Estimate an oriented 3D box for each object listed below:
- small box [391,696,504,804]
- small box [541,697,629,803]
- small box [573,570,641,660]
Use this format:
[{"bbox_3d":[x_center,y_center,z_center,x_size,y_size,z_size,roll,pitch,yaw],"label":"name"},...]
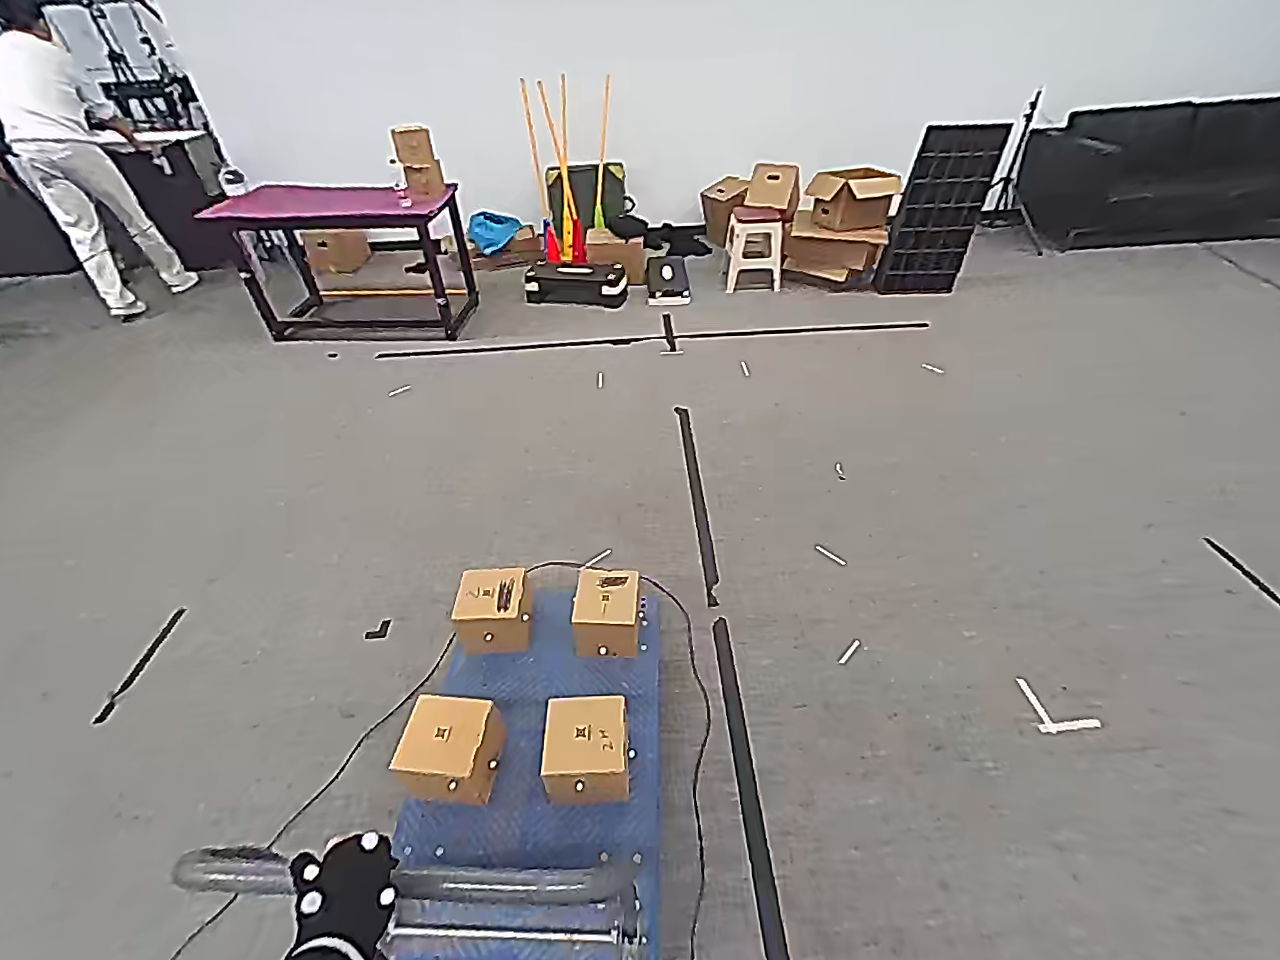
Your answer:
[{"bbox_3d":[-0.425,0.613,1.225,0.179,0.176,0.168,3,41,4],"label":"small box"},{"bbox_3d":[-0.116,0.610,1.216,0.179,0.176,0.168,-2,41,0],"label":"small box"},{"bbox_3d":[-0.086,0.371,1.492,0.168,0.176,0.179,2,42,4],"label":"small box"}]
